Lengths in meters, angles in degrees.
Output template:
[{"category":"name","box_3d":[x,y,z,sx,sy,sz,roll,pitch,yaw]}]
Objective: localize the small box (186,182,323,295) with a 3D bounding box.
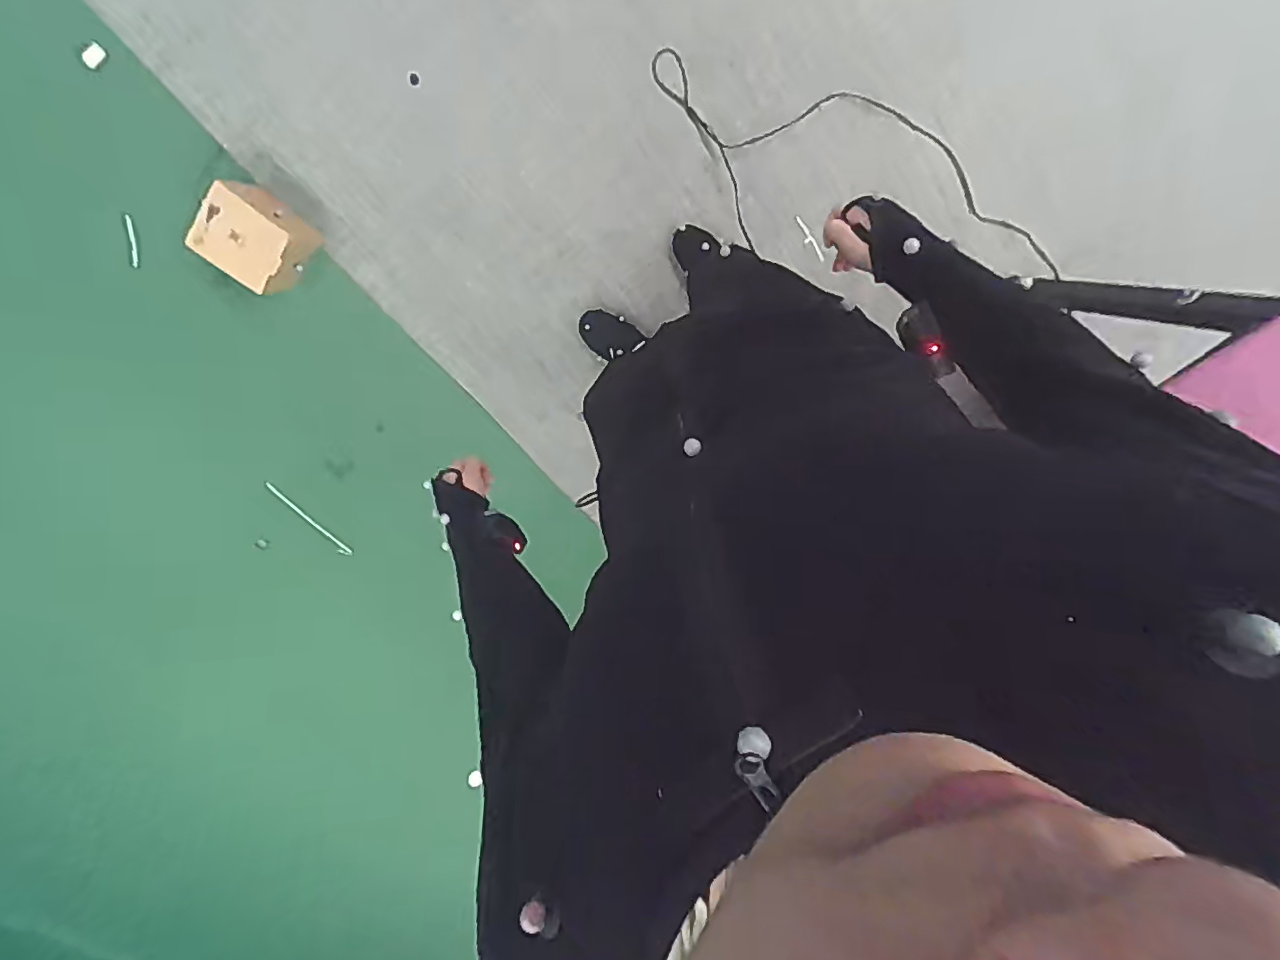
[{"category":"small box","box_3d":[-0.895,-0.567,1.274,0.179,0.176,0.168,37,106,-18]}]
